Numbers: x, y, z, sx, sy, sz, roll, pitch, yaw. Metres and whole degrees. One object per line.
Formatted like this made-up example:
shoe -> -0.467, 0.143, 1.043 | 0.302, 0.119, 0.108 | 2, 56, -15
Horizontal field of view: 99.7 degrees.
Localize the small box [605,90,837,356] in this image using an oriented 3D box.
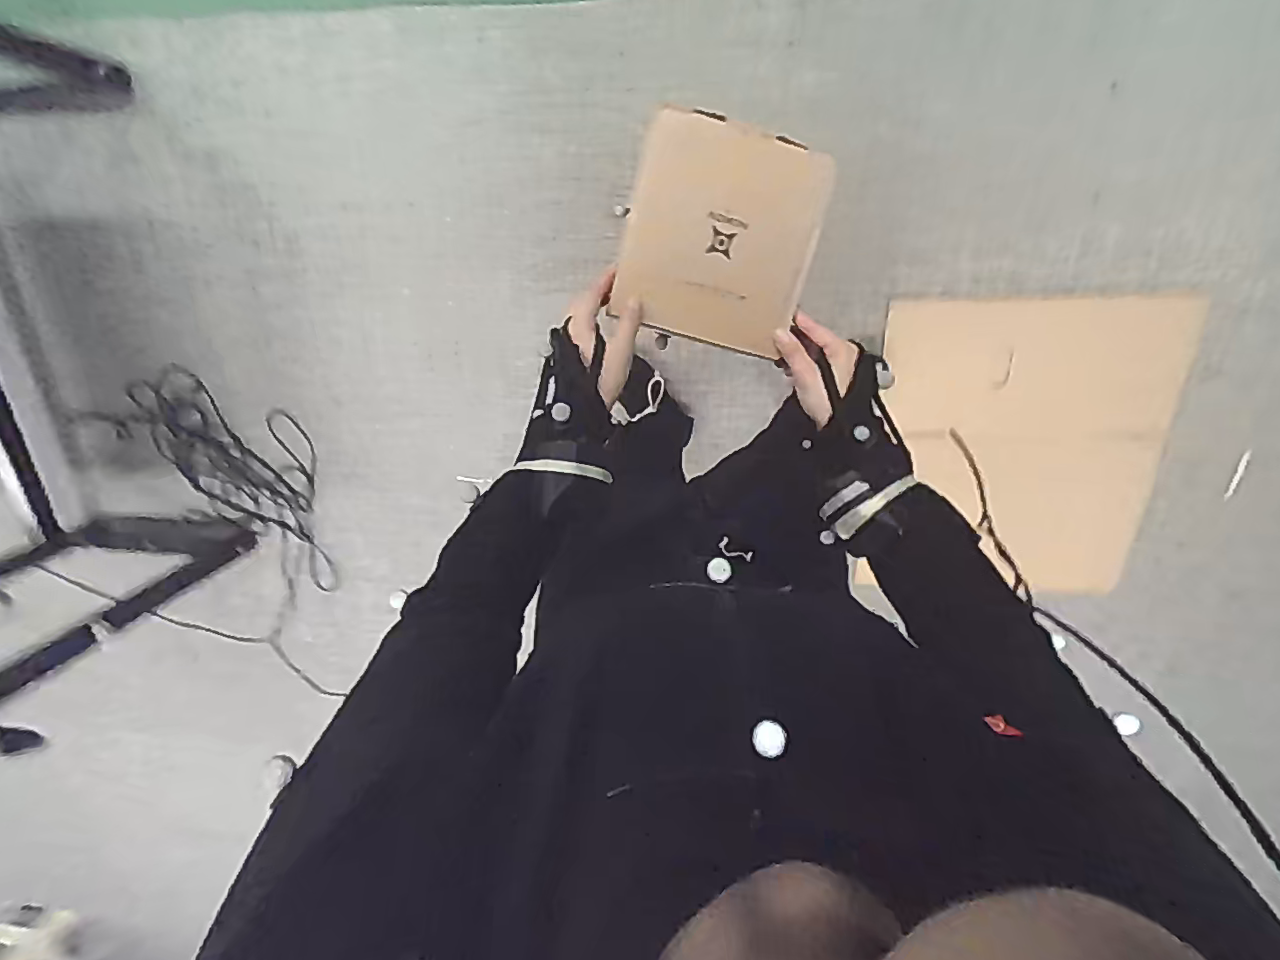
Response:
small box -> 0.060, -0.233, 0.534 | 0.168, 0.176, 0.179 | 12, 106, -8
